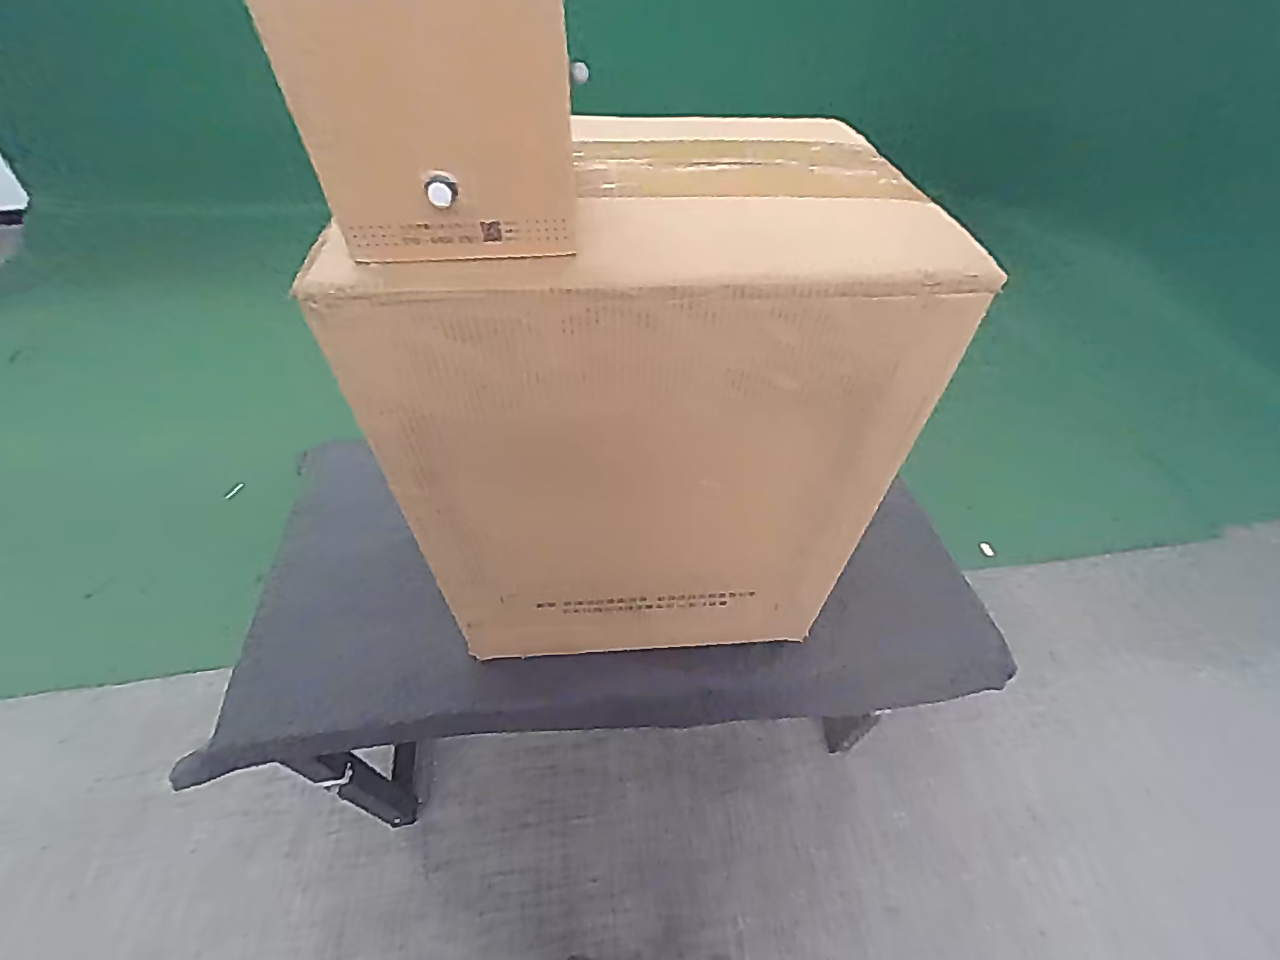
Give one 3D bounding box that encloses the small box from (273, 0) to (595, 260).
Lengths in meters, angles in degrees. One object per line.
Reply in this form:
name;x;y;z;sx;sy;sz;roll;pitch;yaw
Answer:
small box;-0.119;-0.275;0.374;0.168;0.176;0.179;-2;52;-3
